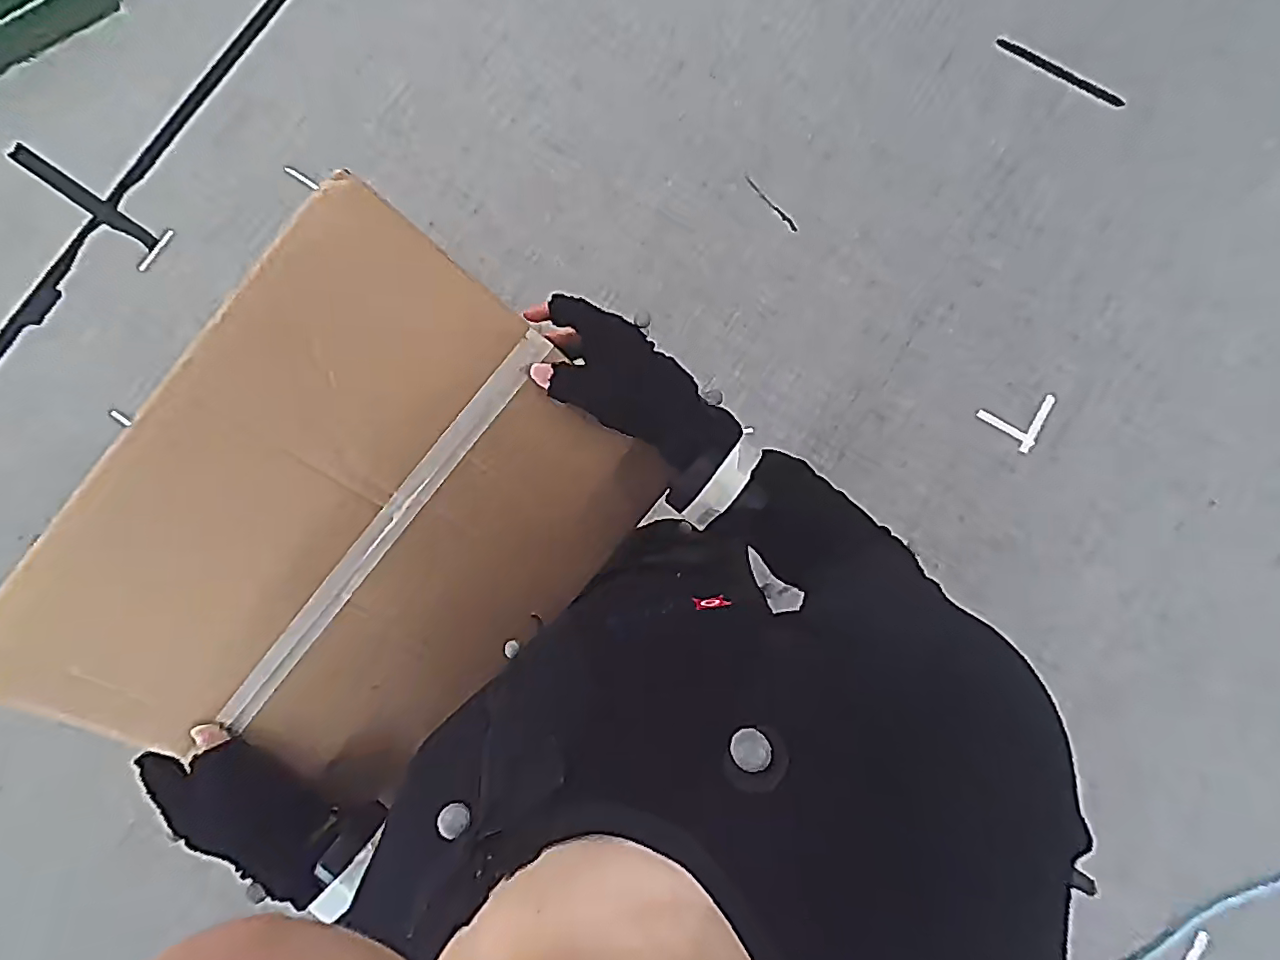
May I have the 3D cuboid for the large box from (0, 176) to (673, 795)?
[{"bbox_3d":[-0.245,0.002,0.545,0.320,0.320,0.408,39,93,-26],"label":"large box"}]
